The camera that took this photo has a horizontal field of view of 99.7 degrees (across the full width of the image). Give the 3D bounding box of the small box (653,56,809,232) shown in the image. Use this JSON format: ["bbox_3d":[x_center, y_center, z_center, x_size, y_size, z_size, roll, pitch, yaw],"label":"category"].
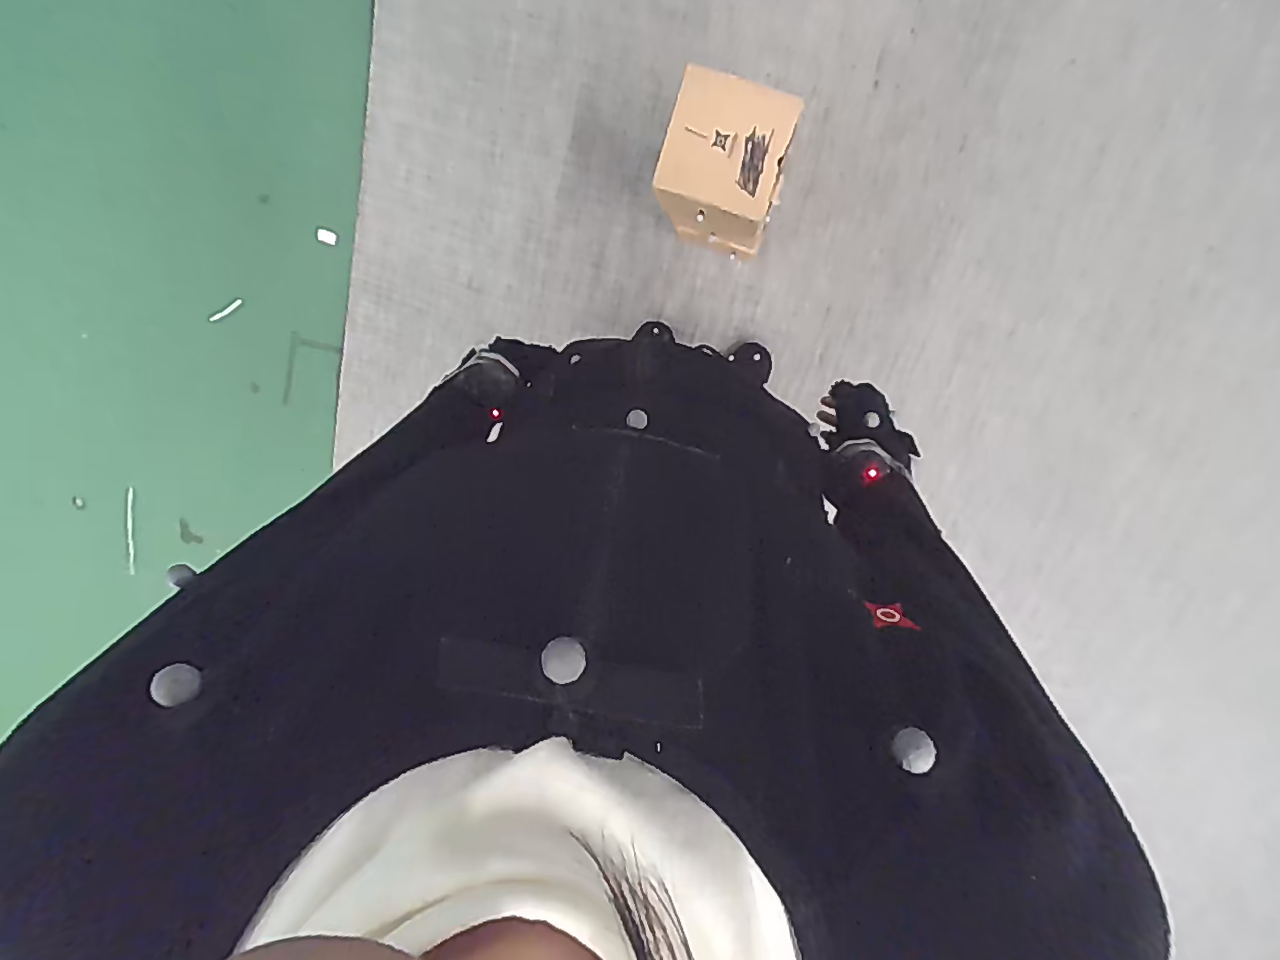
[{"bbox_3d":[0.138,-0.509,0.851,0.179,0.176,0.168,23,107,1],"label":"small box"}]

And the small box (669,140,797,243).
[{"bbox_3d":[0.169,-0.556,1.009,0.179,0.176,0.168,20,108,2],"label":"small box"}]
